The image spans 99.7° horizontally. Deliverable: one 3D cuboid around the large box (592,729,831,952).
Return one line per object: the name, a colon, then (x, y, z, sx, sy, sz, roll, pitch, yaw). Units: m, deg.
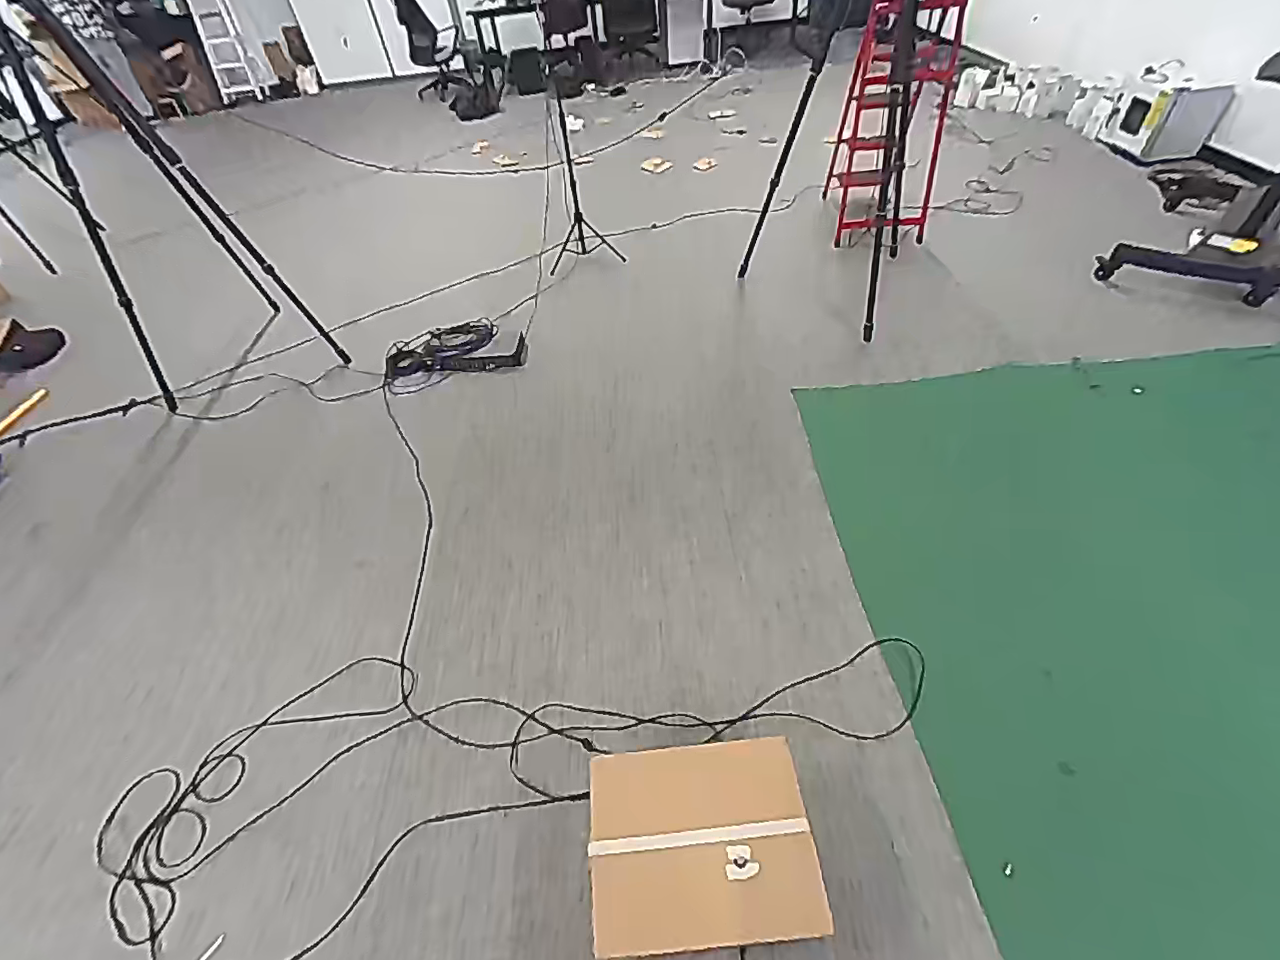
large box: (0.123, 0.743, 1.111, 0.408, 0.320, 0.320, -7, 50, 1)
